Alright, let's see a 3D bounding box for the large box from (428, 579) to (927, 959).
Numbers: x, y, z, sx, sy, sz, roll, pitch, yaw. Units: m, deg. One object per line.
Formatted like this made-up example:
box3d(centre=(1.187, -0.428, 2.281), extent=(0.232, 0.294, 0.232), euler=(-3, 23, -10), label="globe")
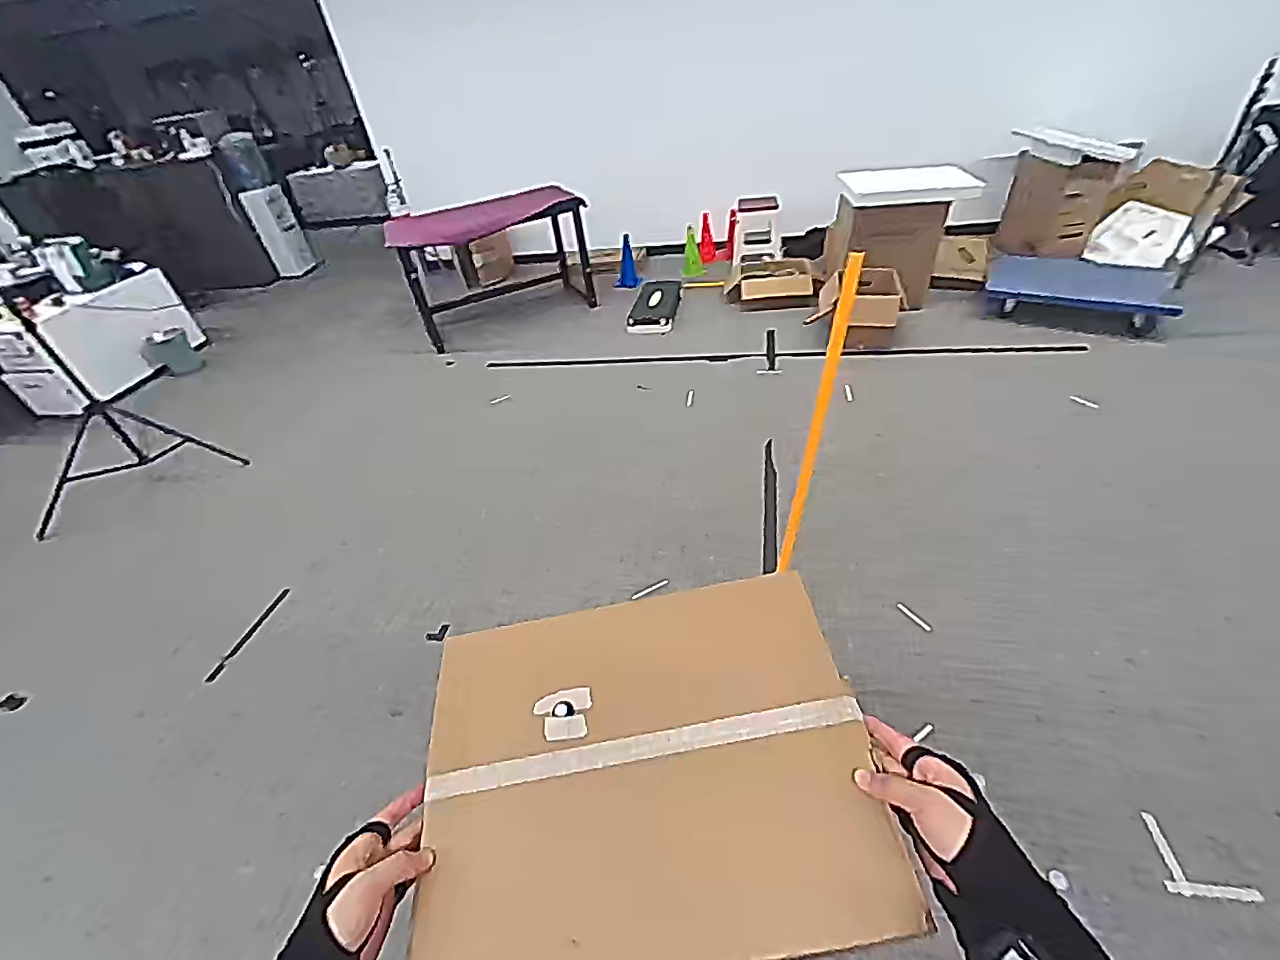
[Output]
box3d(centre=(0.032, 0.362, 0.620), extent=(0.408, 0.320, 0.320), euler=(-13, 45, 2), label="large box")
